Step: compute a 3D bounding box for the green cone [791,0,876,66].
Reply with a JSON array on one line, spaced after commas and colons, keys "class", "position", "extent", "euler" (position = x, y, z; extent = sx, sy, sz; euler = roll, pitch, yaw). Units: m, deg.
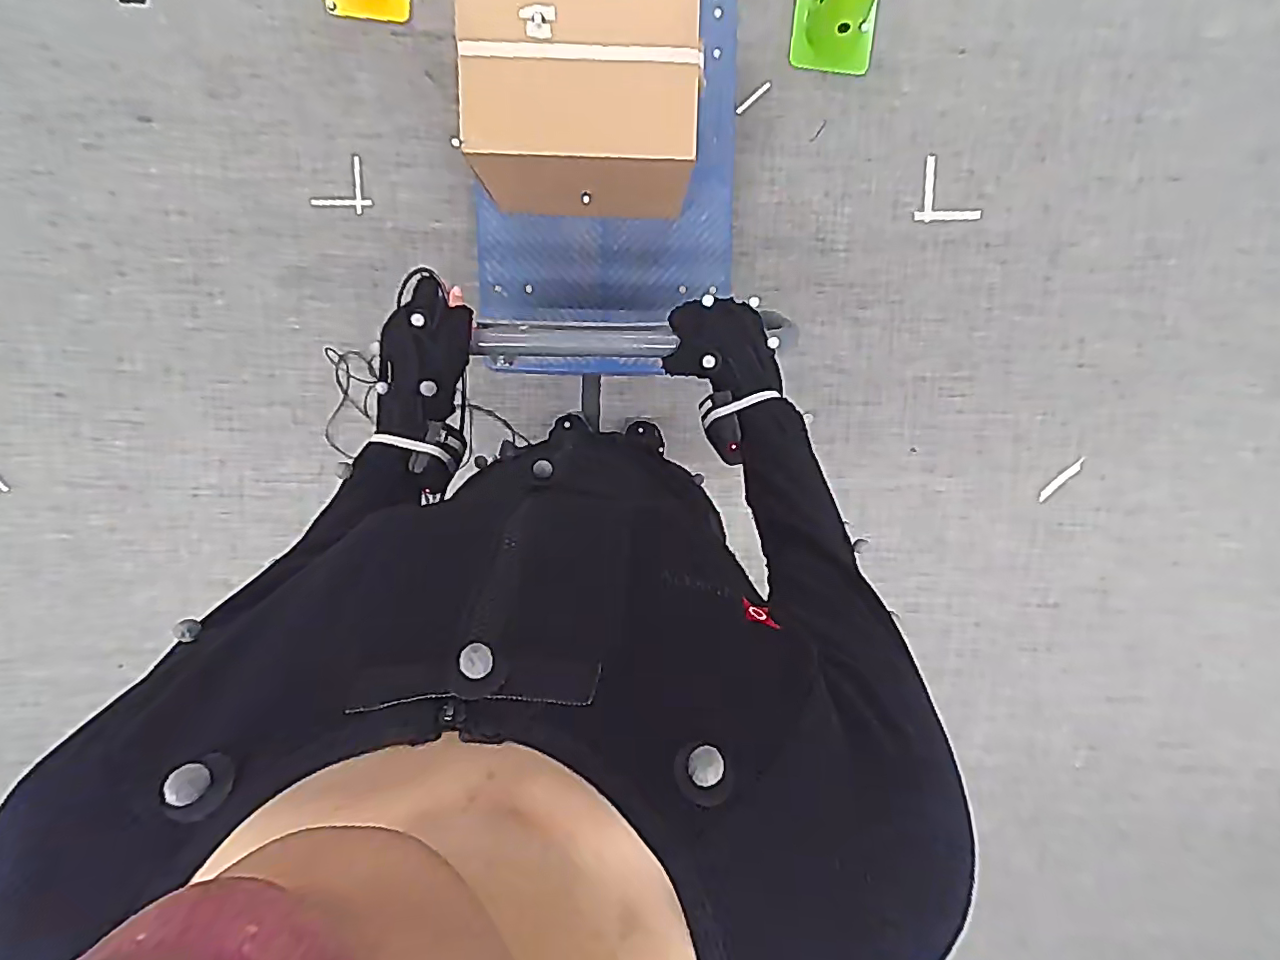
[{"class": "green cone", "position": [0.484, -1.110, 1.158], "extent": [0.202, 0.368, 0.200], "euler": [5, 98, -3]}]

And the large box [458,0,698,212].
[{"class": "large box", "position": [-0.103, -0.733, 1.052], "extent": [0.408, 0.320, 0.320], "euler": [1, 98, -1]}]
